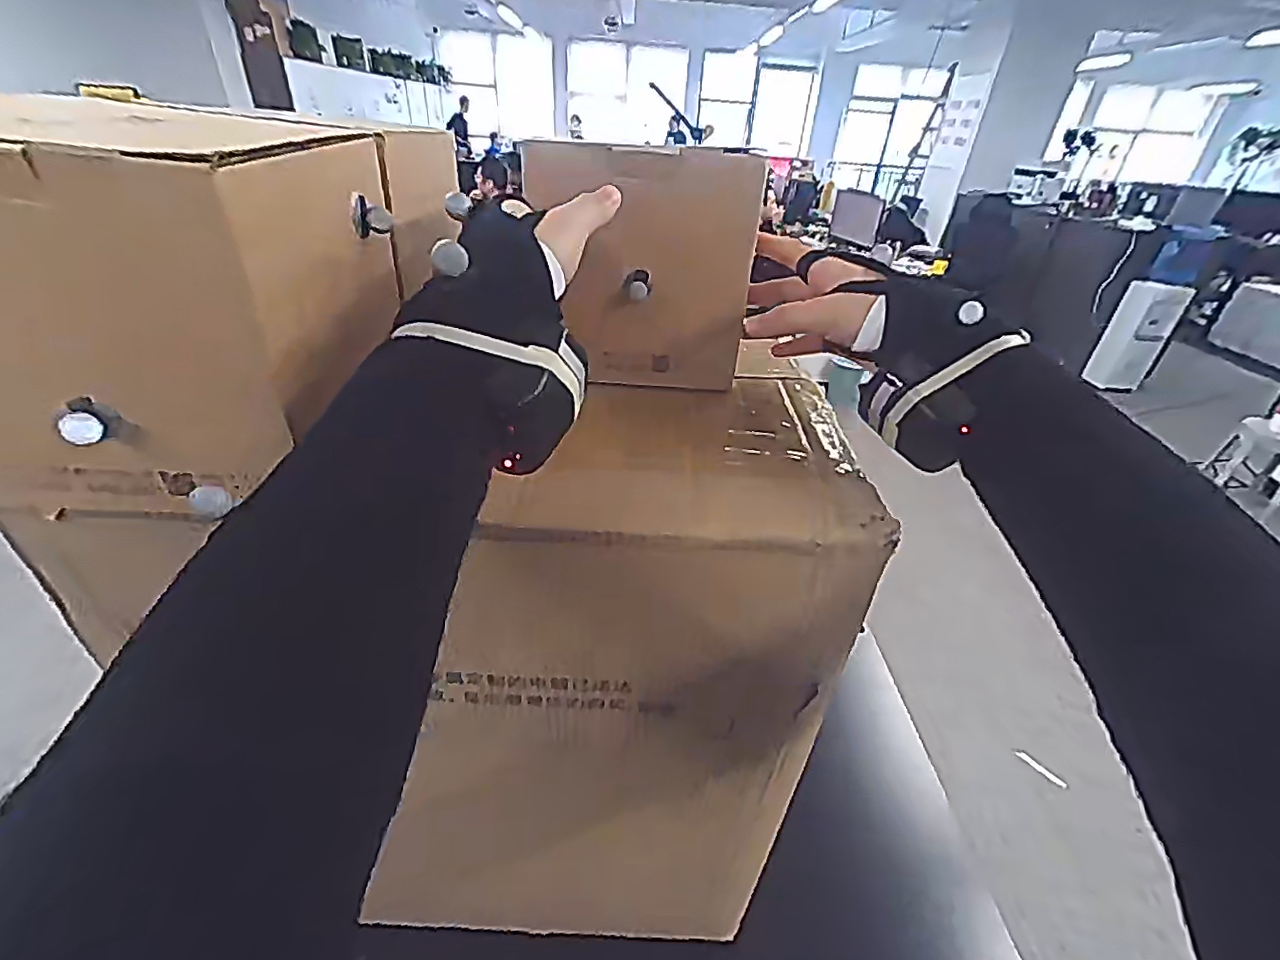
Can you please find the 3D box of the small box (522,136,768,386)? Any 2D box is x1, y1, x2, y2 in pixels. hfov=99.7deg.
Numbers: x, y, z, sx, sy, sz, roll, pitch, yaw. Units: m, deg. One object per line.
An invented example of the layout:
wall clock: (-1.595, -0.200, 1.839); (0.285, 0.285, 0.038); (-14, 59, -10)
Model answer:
small box: (0.002, -0.190, 0.464); (0.168, 0.176, 0.179); (4, 32, -1)
